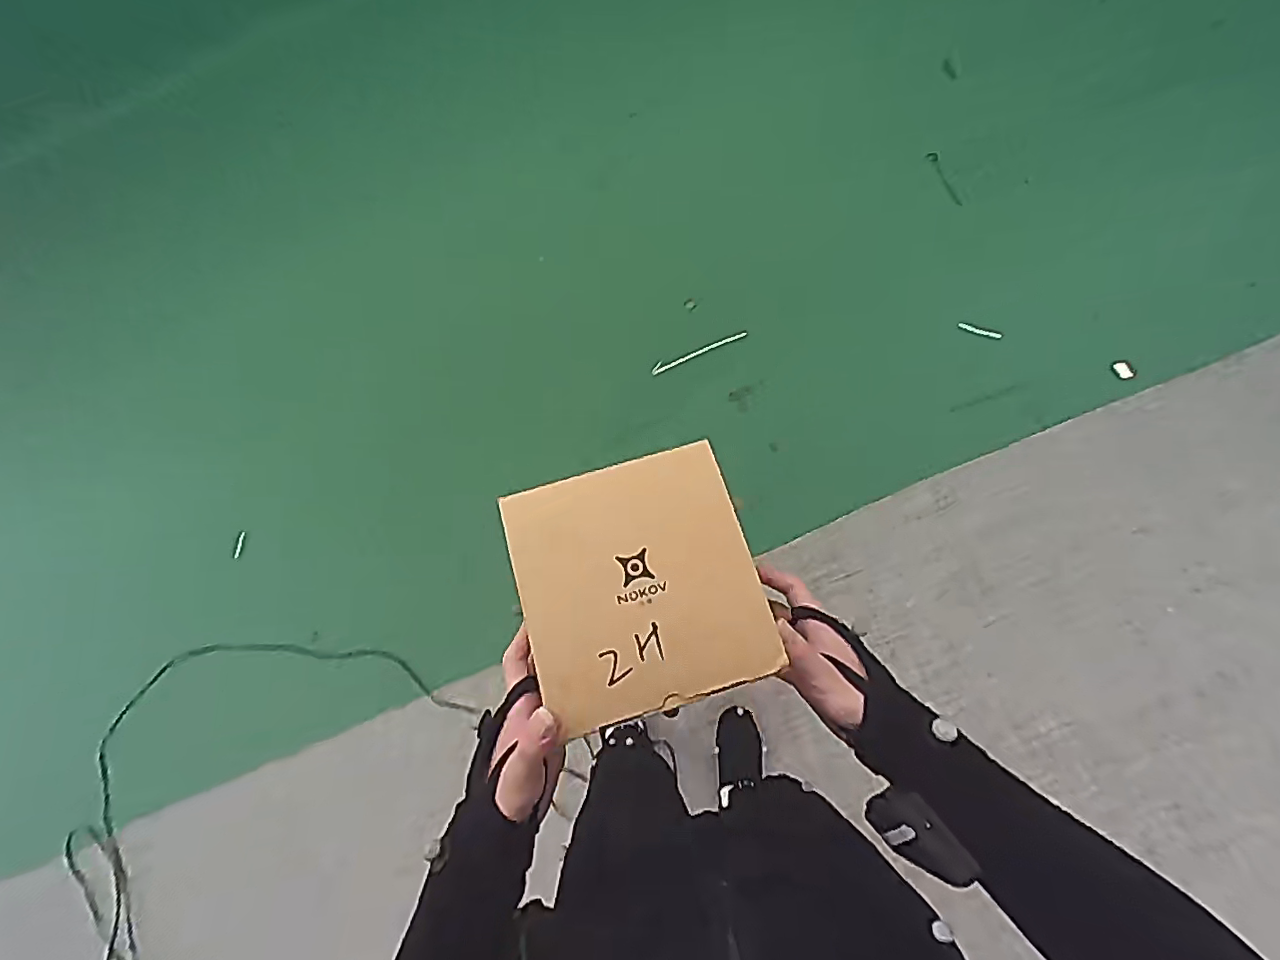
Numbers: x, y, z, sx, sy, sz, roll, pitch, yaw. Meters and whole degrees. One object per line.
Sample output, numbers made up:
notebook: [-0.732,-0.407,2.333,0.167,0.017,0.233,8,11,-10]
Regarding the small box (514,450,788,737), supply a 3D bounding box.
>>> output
small box: [0.003,0.099,0.464,0.168,0.176,0.179,-14,73,-3]
